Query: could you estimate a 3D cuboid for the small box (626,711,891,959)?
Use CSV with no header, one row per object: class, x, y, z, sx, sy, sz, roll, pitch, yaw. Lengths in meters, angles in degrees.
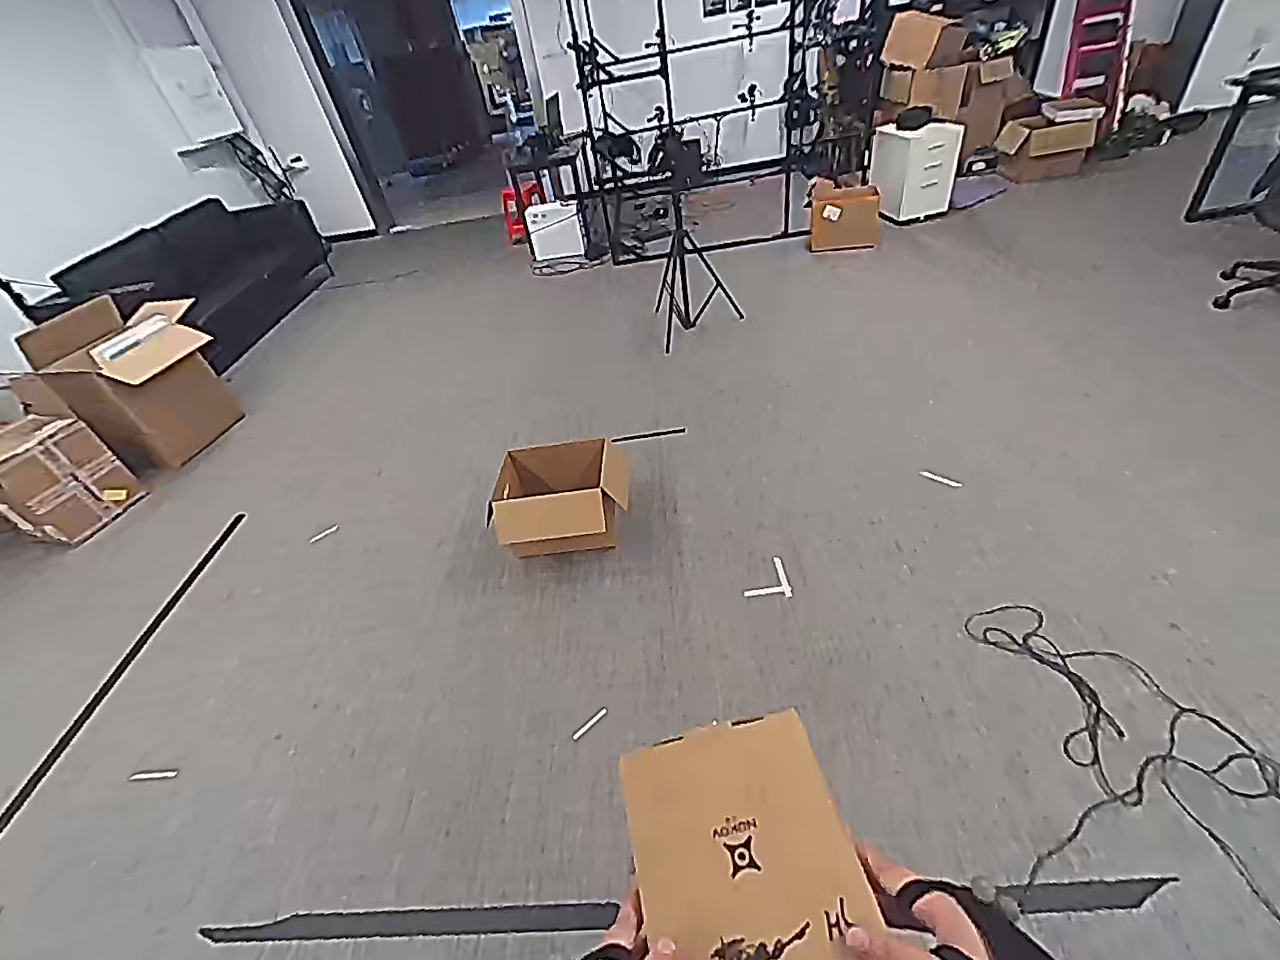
small box,0.088,0.341,0.483,0.168,0.176,0.179,-13,45,-2
